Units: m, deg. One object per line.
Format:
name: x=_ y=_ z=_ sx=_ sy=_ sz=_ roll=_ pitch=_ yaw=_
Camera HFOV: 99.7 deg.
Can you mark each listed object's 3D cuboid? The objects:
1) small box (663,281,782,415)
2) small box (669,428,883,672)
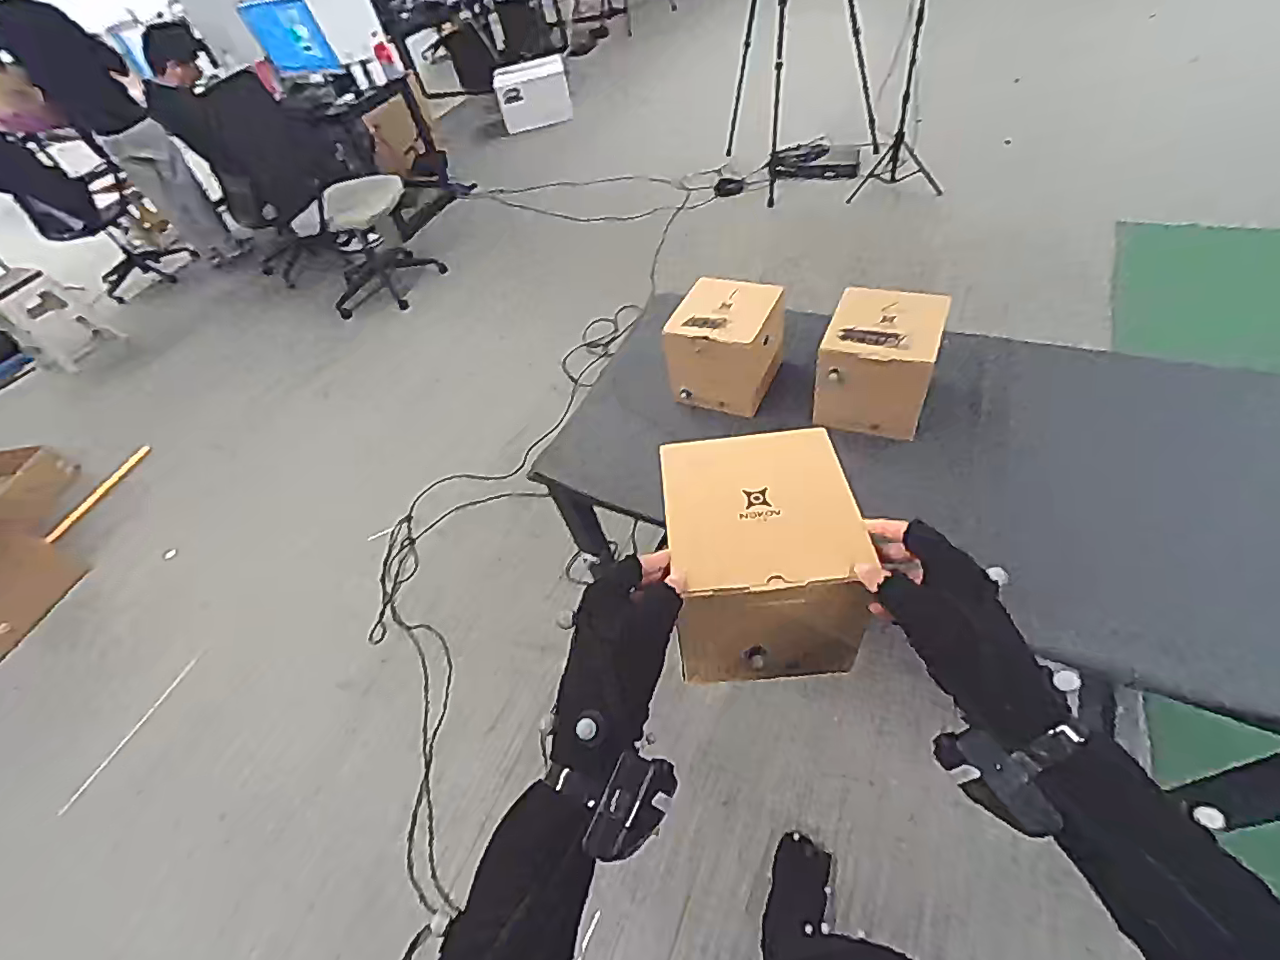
small box: x=0.163 y=-0.247 z=1.020 sx=0.168 sy=0.176 sz=0.179 roll=17 pitch=56 yaw=24
small box: x=0.118 y=0.072 z=0.544 sx=0.168 sy=0.176 sz=0.179 roll=-6 pitch=47 yaw=4
